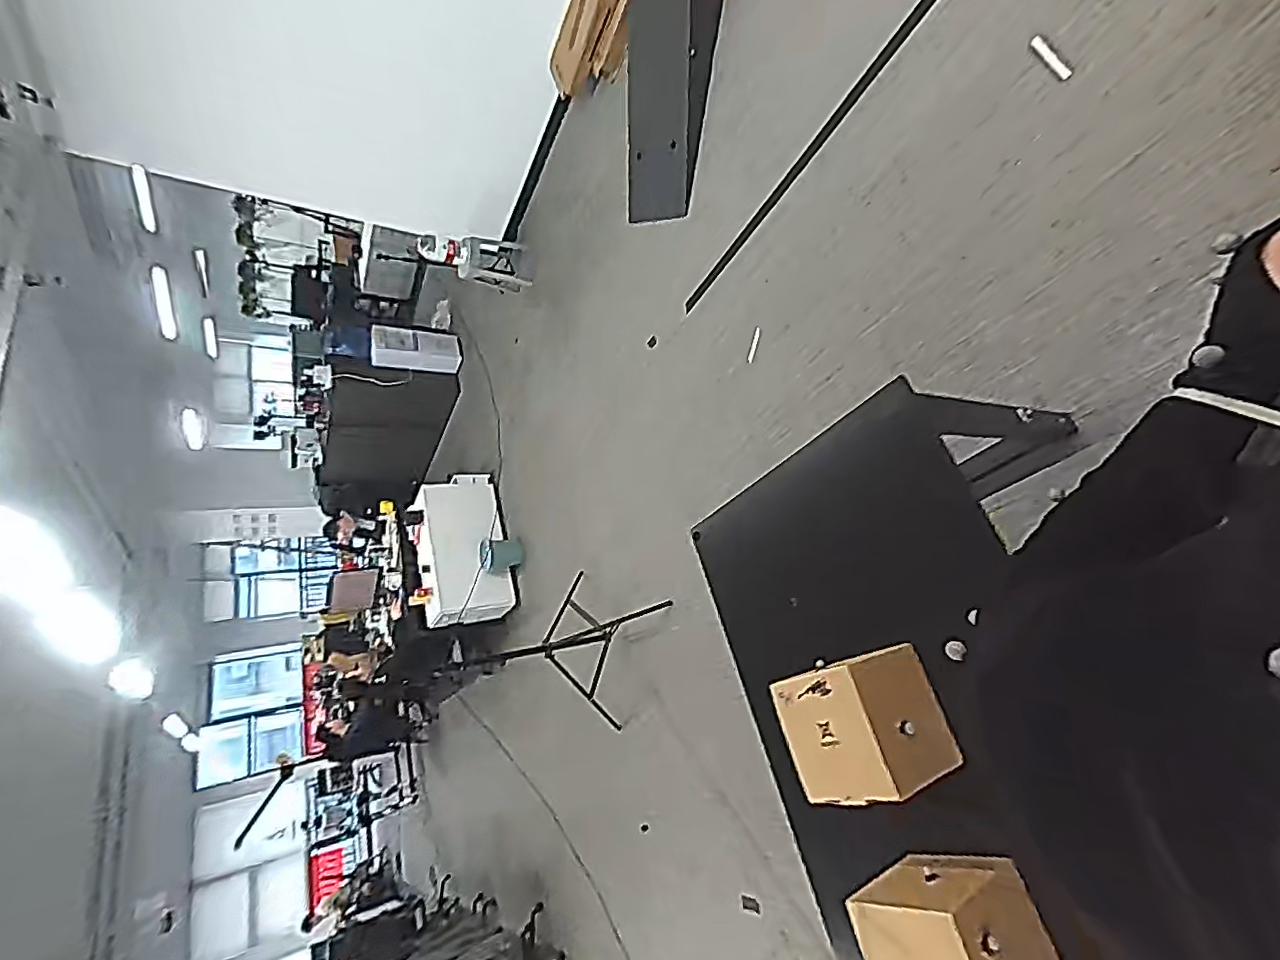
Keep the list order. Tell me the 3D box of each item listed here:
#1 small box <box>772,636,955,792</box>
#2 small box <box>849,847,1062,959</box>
[{"bbox_3d":[0.346,0.361,0.841,0.168,0.176,0.179,-43,58,49],"label":"small box"},{"bbox_3d":[0.427,0.618,0.725,0.168,0.176,0.179,-46,54,48],"label":"small box"}]
